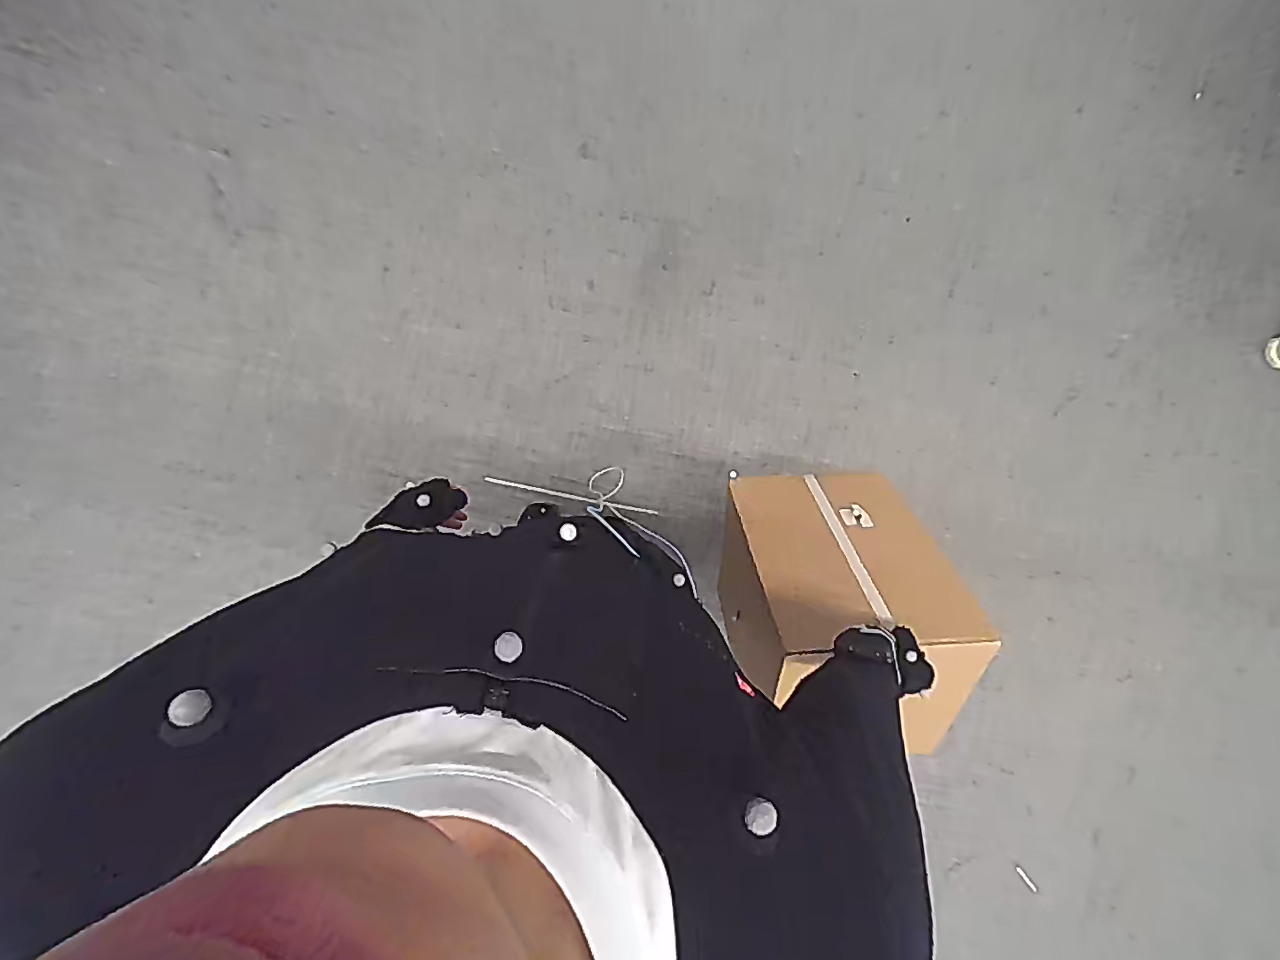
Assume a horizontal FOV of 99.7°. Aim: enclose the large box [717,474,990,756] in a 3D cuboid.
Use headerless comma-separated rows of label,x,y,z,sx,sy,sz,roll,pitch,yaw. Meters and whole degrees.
large box,0.339,0.233,1.007,0.320,0.408,0.320,-1,126,-3
